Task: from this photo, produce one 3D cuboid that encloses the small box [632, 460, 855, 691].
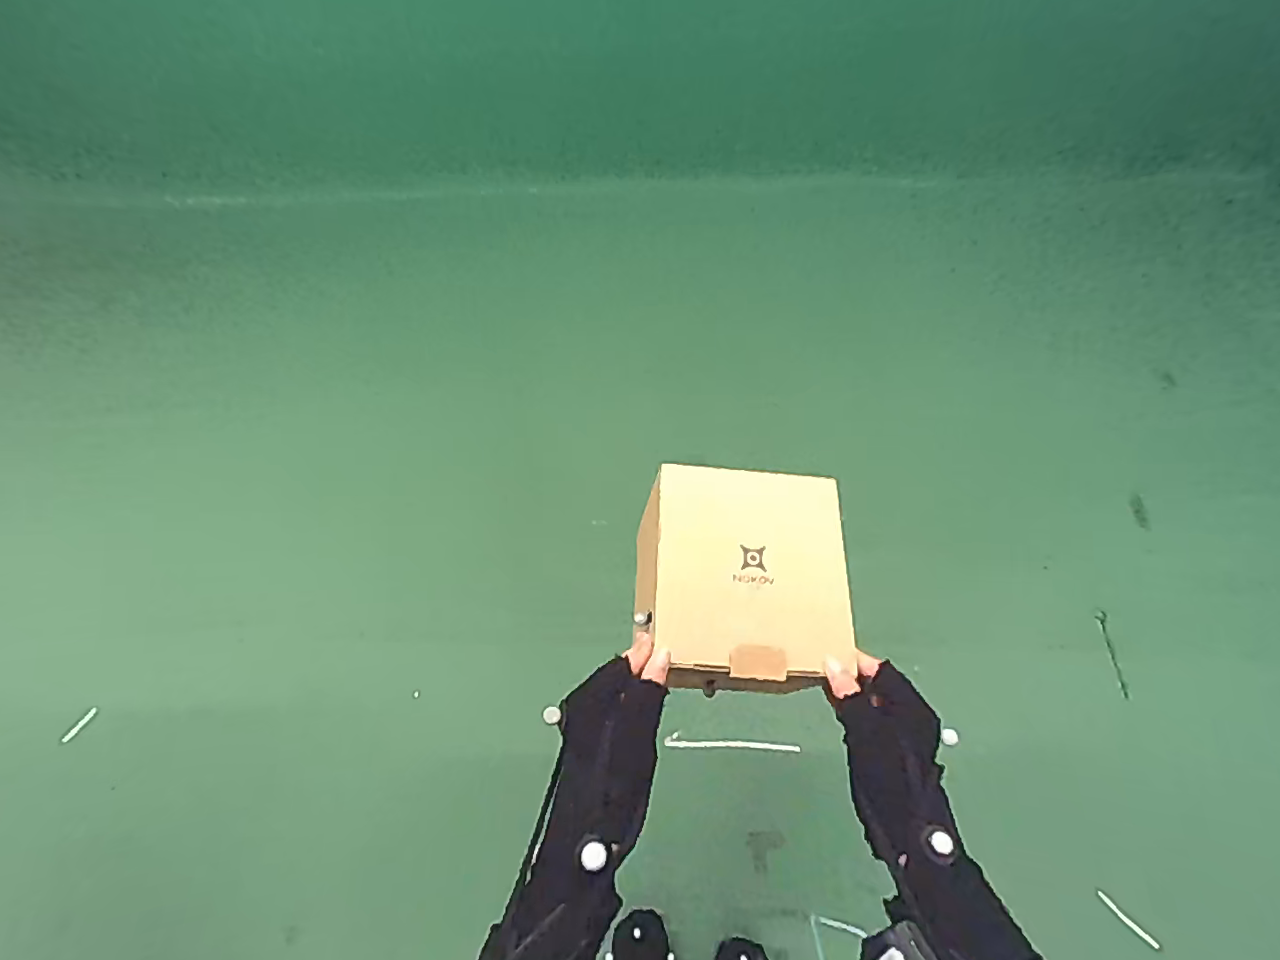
[{"bbox_3d":[0.084,0.101,0.525,0.168,0.176,0.179,5,65,-4],"label":"small box"}]
